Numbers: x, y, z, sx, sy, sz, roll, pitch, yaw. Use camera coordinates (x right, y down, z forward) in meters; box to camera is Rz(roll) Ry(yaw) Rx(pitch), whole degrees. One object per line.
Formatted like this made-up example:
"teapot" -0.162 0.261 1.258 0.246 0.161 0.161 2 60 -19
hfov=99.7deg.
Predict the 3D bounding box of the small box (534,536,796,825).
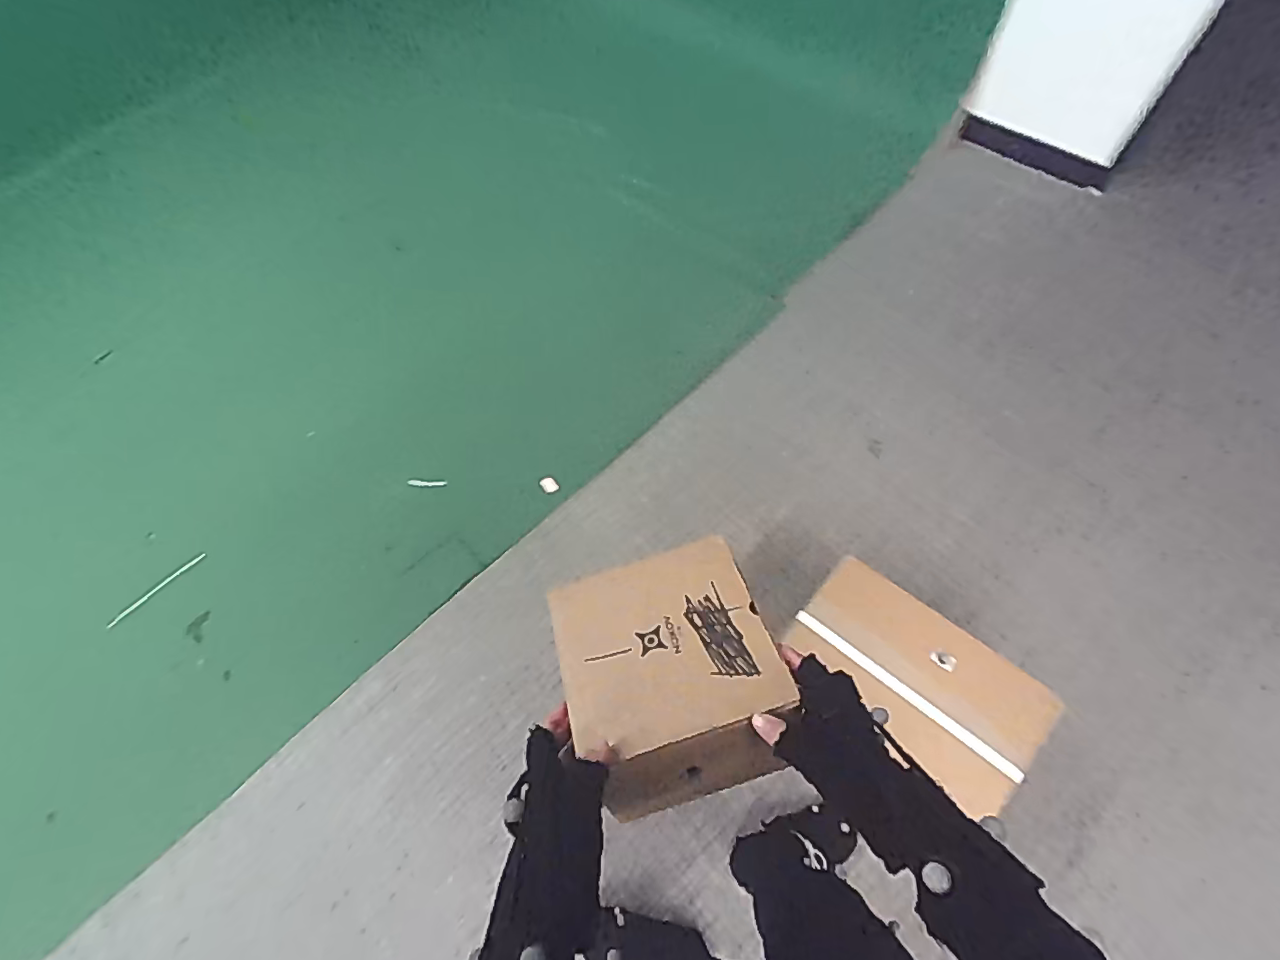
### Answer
"small box" 0.021 0.187 0.501 0.179 0.176 0.168 -20 47 -7
